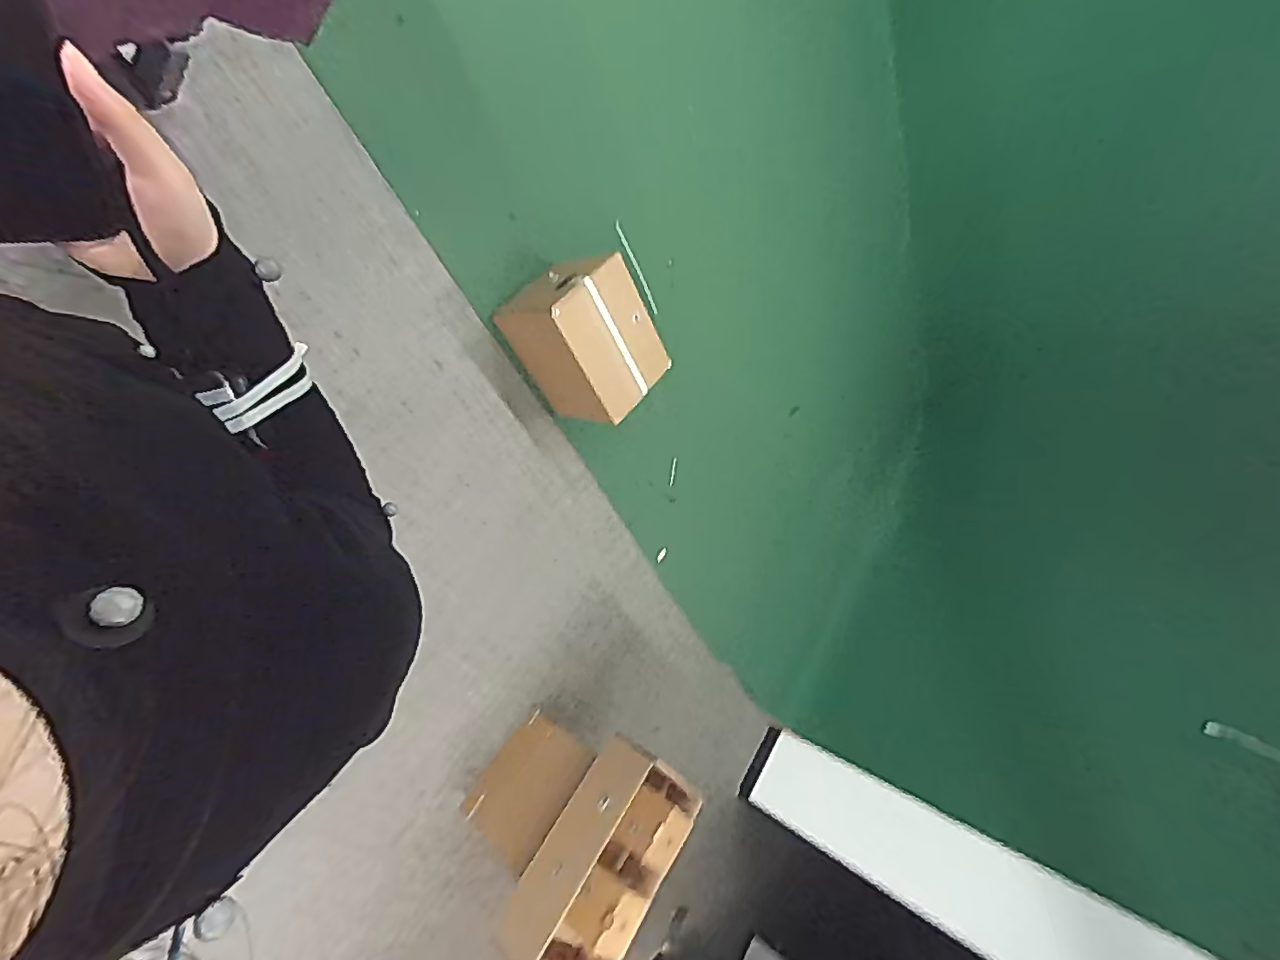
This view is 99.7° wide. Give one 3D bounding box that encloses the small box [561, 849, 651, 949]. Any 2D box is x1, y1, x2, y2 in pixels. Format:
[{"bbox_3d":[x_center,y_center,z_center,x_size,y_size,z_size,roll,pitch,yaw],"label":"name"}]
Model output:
[{"bbox_3d":[-0.104,1.261,1.635,0.168,0.176,0.179,-53,131,-24],"label":"small box"}]
